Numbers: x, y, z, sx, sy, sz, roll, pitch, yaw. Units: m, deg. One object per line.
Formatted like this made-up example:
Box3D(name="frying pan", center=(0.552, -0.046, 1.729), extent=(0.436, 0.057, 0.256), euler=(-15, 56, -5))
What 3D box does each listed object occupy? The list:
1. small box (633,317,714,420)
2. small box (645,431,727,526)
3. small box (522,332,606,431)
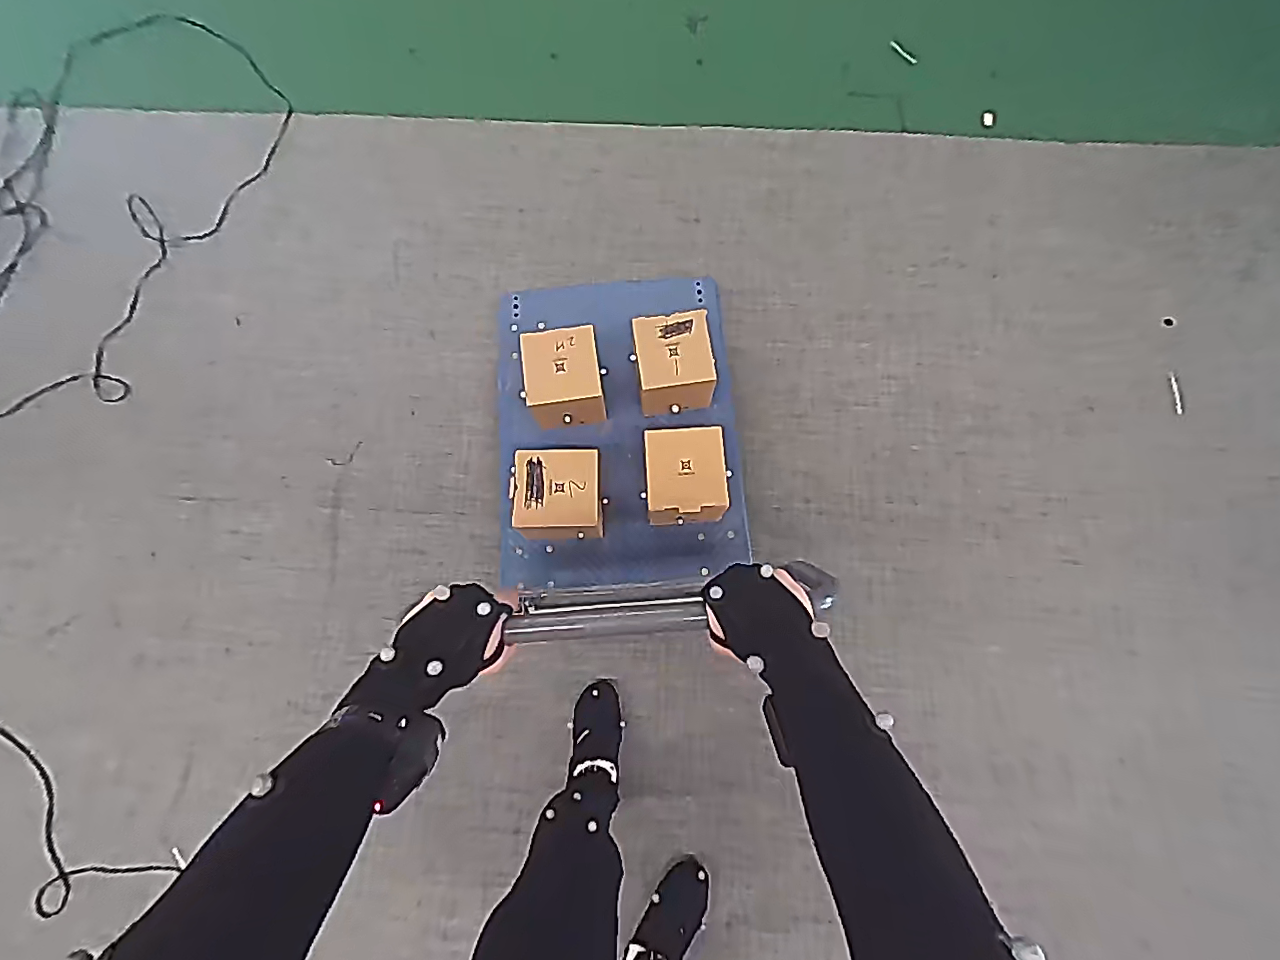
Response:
Box3D(name="small box", center=(0.075, -0.261, 1.287), extent=(0.168, 0.176, 0.179), euler=(-8, 76, 0))
Box3D(name="small box", center=(0.097, 0.001, 1.219), extent=(0.168, 0.176, 0.179), euler=(-4, 76, 0))
Box3D(name="small box", center=(-0.174, -0.223, 1.281), extent=(0.168, 0.176, 0.179), euler=(-8, 75, -2))
